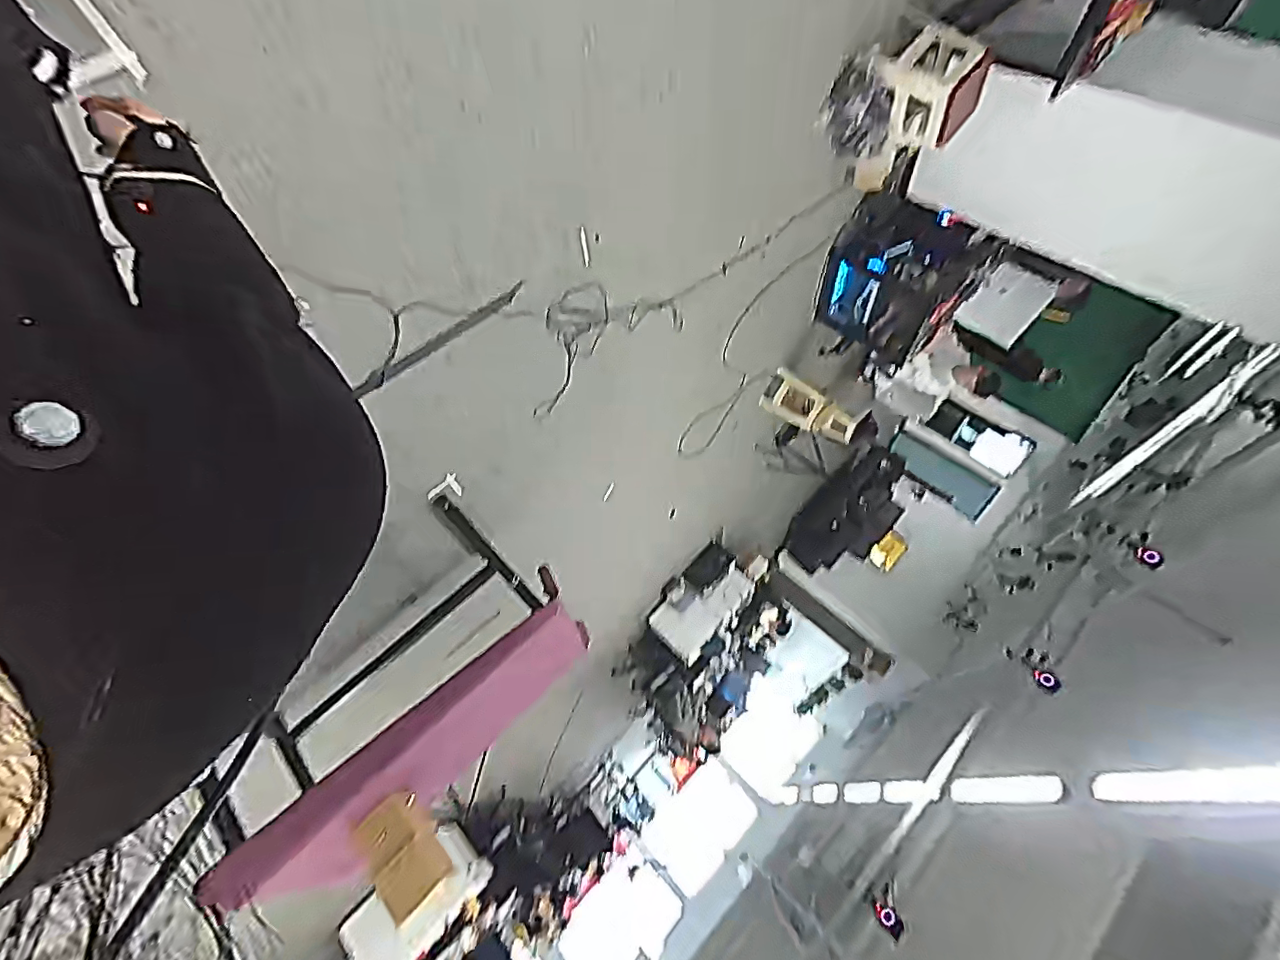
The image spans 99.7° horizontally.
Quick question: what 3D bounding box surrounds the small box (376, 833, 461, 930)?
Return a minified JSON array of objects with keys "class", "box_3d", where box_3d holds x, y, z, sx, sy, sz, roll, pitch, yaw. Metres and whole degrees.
[{"class":"small box","box_3d":[-0.724,1.293,1.753,0.179,0.176,0.168,-44,155,-14]}]
